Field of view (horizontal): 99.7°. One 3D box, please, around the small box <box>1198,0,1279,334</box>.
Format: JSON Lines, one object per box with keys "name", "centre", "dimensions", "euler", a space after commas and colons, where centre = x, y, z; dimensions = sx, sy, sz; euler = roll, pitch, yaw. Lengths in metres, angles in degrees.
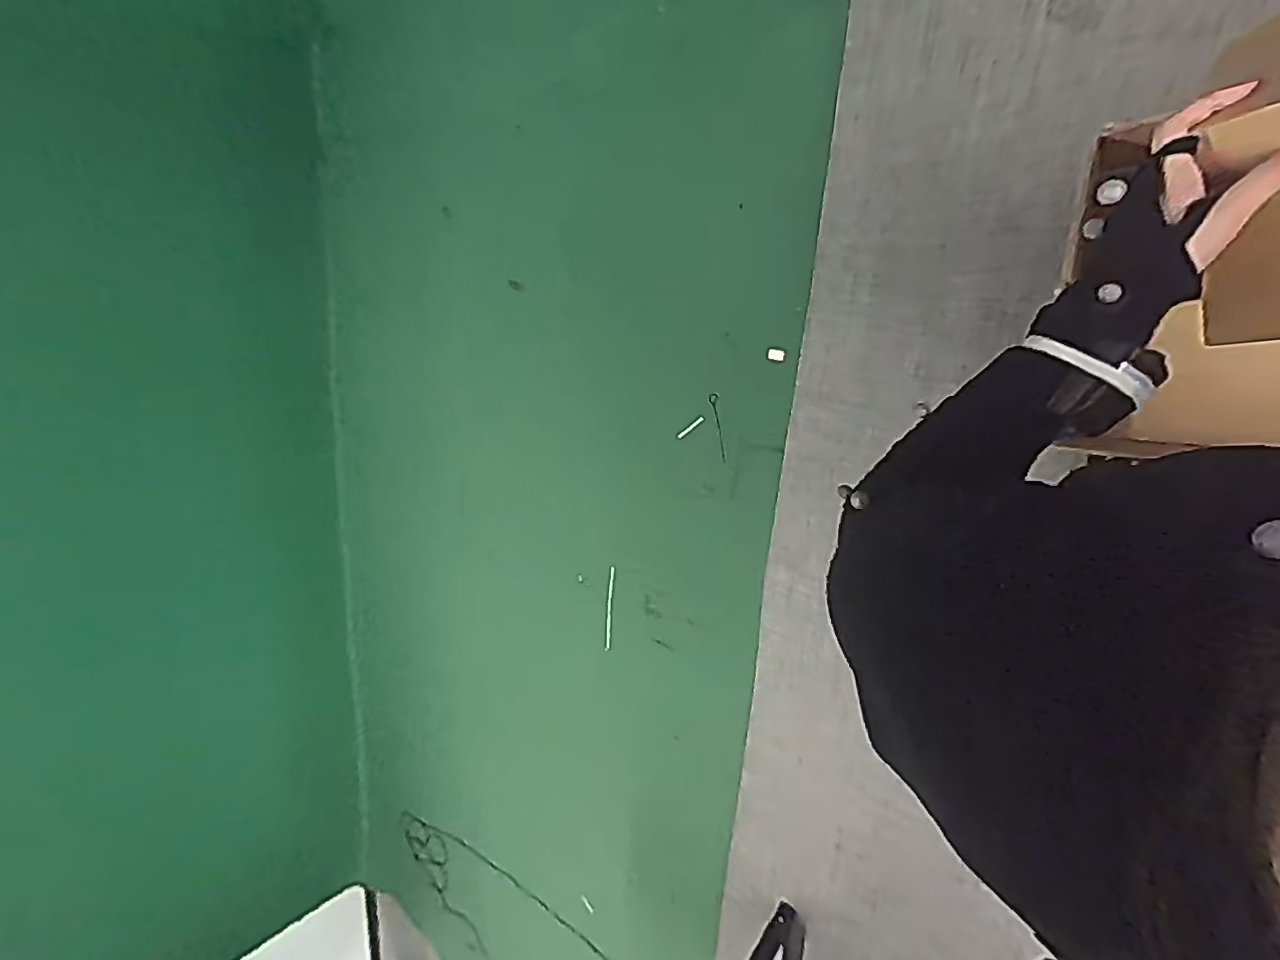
{"name": "small box", "centre": [0.504, -0.226, 0.351], "dimensions": [0.179, 0.176, 0.168], "euler": [49, 157, -27]}
